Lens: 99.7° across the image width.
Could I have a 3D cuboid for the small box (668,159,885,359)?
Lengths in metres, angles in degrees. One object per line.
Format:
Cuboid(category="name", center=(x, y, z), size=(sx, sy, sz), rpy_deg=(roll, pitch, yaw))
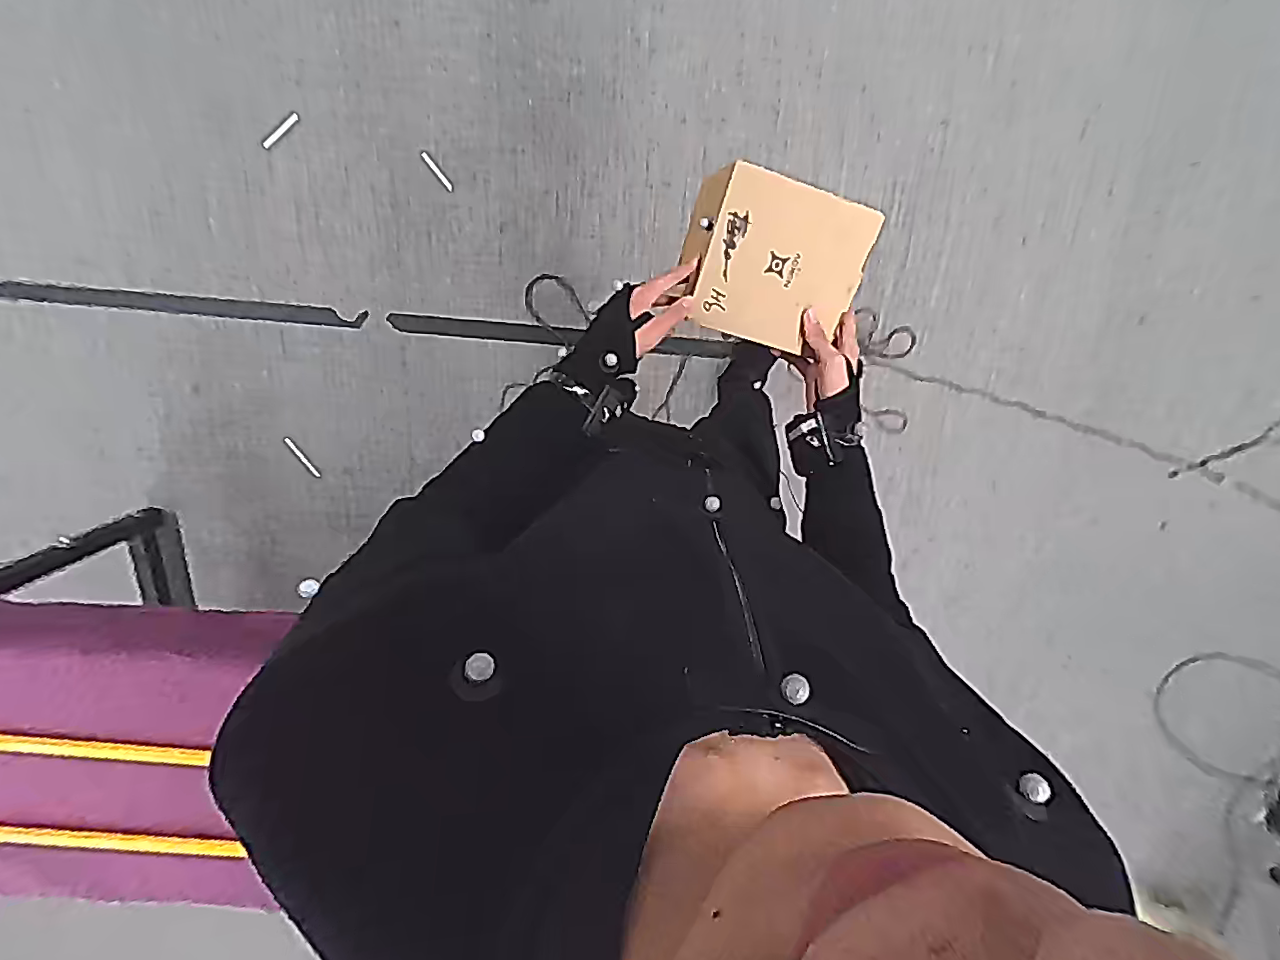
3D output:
Cuboid(category="small box", center=(0.148, -0.263, 0.655), size=(0.179, 0.176, 0.168), rpy_deg=(13, 112, -12))
